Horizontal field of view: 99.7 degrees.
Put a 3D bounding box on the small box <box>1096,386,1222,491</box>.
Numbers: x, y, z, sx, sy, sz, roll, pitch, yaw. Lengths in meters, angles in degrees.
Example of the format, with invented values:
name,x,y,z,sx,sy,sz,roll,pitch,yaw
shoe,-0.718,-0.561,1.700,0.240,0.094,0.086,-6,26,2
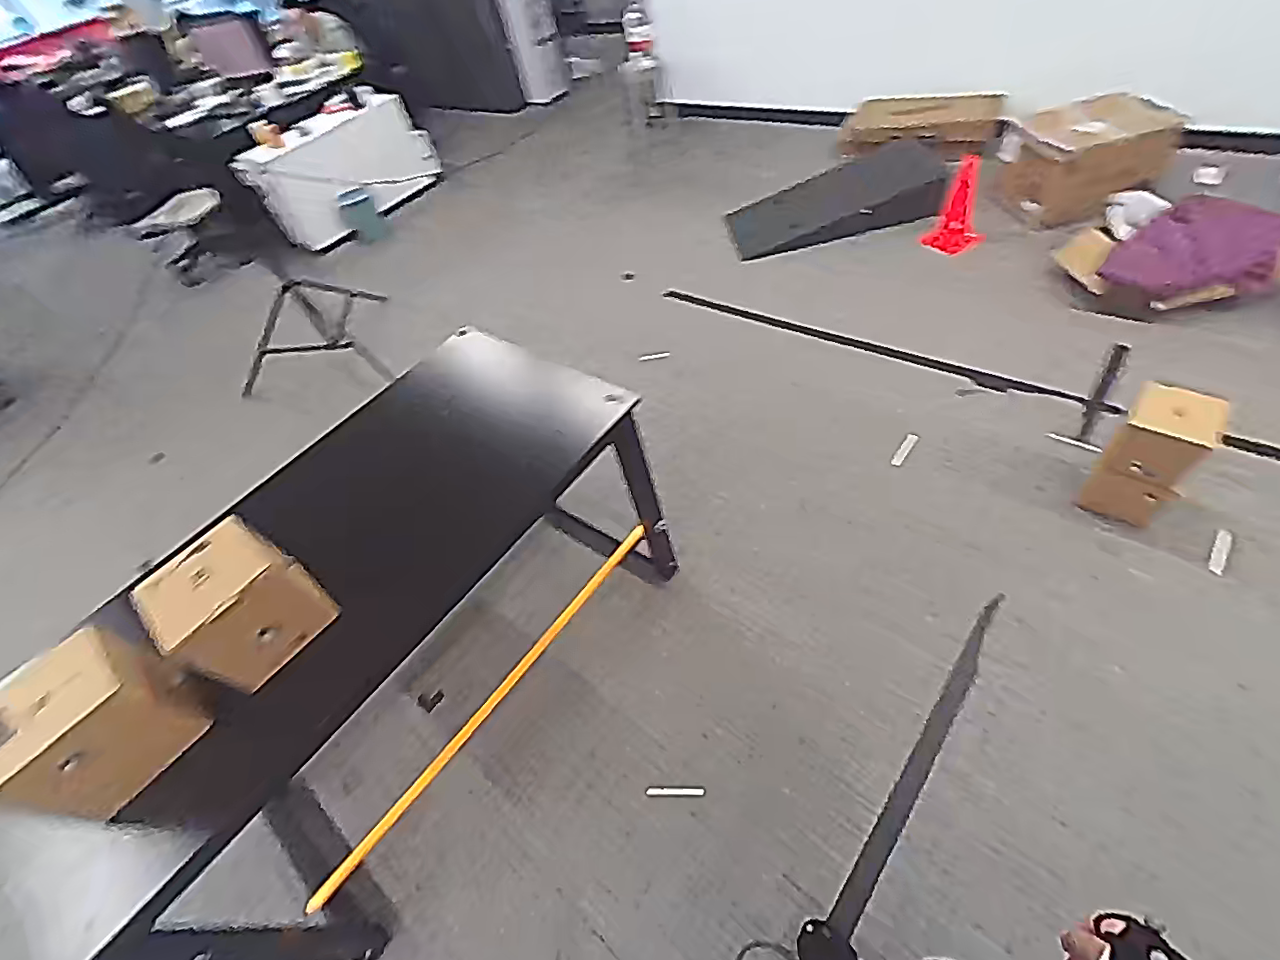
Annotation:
name,x,y,z,sx,sy,sz,roll,pitch,yaw
small box,1.325,-0.106,1.391,0.168,0.176,0.179,28,64,31

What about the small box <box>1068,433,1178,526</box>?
name,x,y,z,sx,sy,sz,roll,pitch,yaw
small box,1.351,0.003,1.509,0.179,0.176,0.168,27,62,30

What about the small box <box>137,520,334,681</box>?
name,x,y,z,sx,sy,sz,roll,pitch,yaw
small box,-0.646,0.203,0.882,0.179,0.176,0.168,28,63,31

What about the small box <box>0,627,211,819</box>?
name,x,y,z,sx,sy,sz,roll,pitch,yaw
small box,-0.795,0.358,0.791,0.168,0.176,0.179,27,62,30
